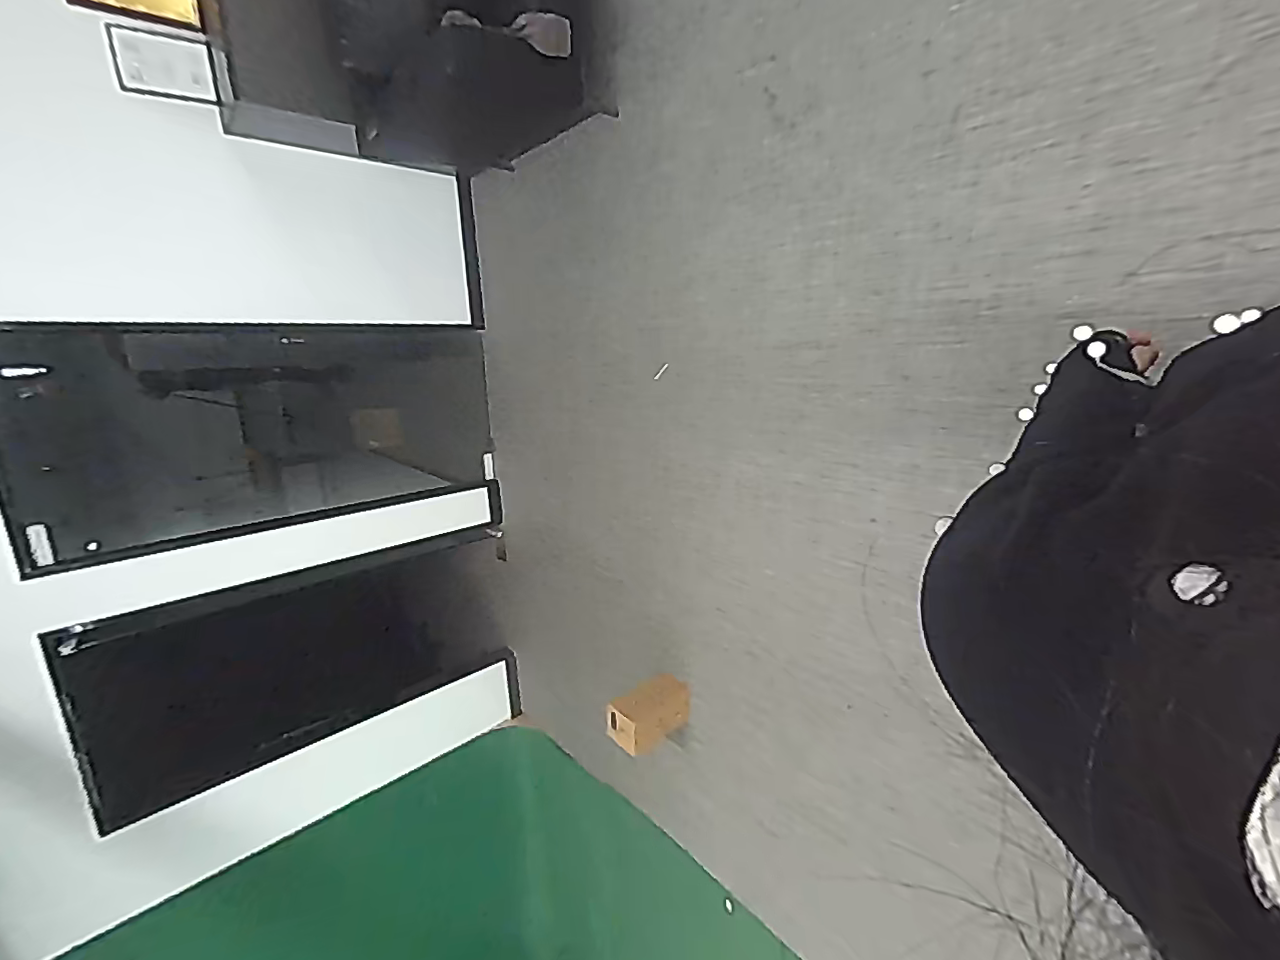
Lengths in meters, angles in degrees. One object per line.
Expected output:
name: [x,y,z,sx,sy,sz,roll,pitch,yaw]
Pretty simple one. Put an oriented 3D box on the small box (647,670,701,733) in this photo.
small box: [0.154,0.977,2.406,0.179,0.176,0.168,21,116,45]
